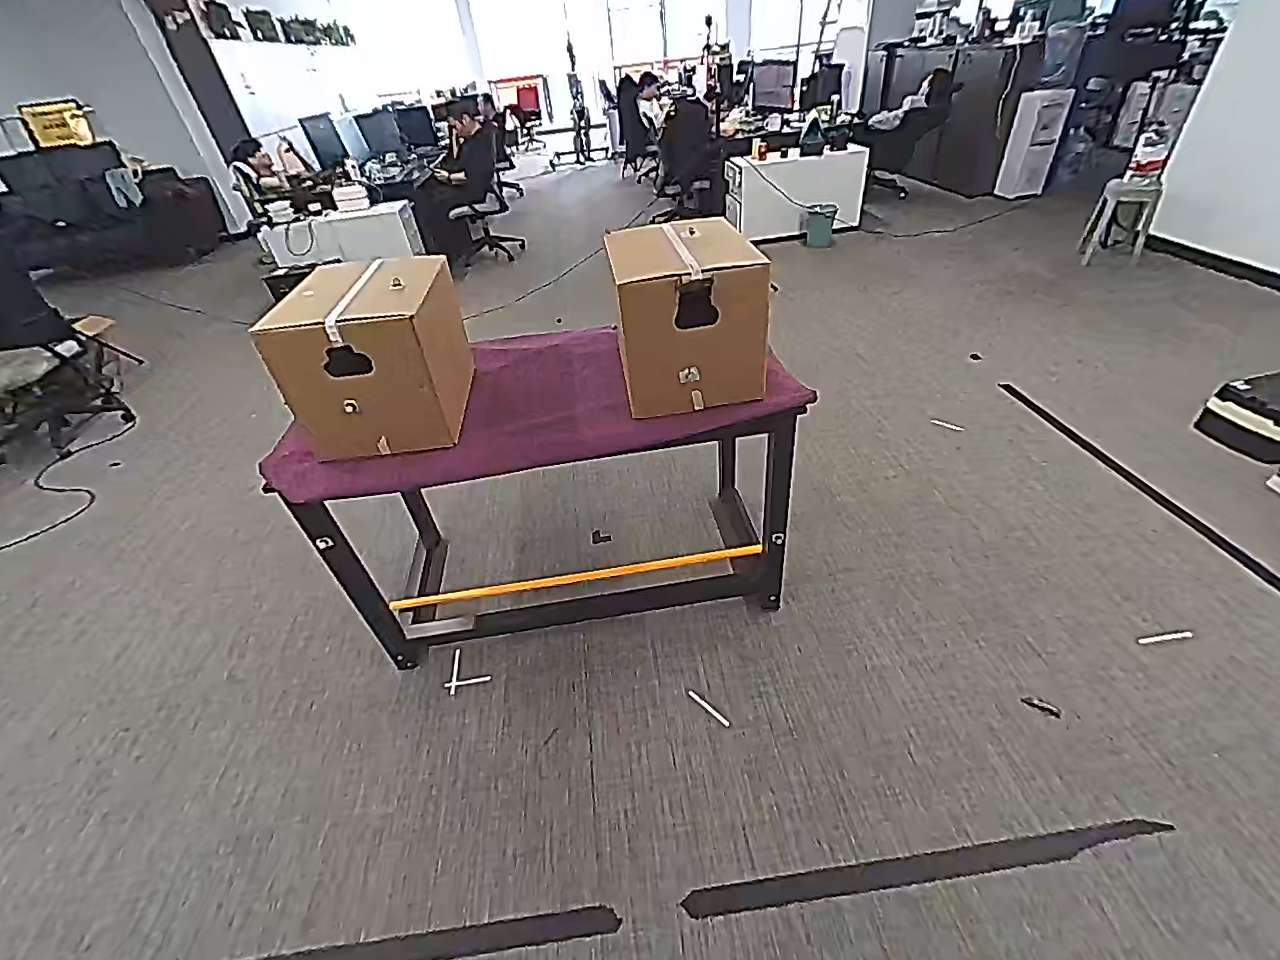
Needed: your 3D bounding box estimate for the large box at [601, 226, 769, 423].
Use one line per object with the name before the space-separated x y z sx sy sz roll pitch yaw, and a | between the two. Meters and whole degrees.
large box | 0.097 -0.386 1.305 0.320 0.320 0.408 -9 37 -3
